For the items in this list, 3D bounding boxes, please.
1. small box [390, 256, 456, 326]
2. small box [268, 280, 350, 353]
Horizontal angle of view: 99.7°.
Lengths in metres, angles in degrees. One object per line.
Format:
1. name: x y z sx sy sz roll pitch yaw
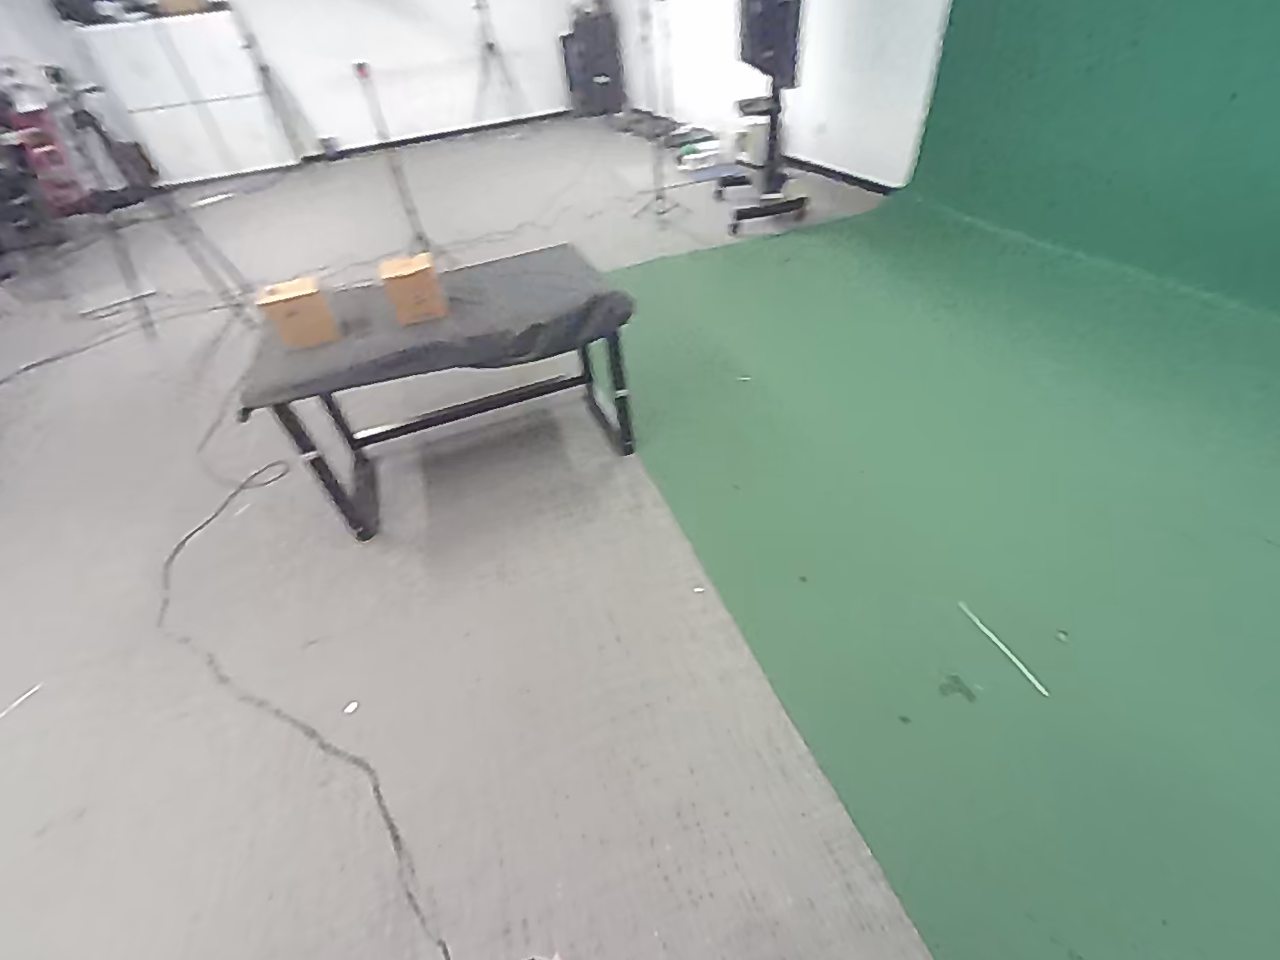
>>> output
1. small box: -0.751 -0.650 1.875 0.168 0.176 0.179 -17 43 -11
2. small box: -1.099 -0.543 1.806 0.179 0.176 0.168 -19 43 -15
